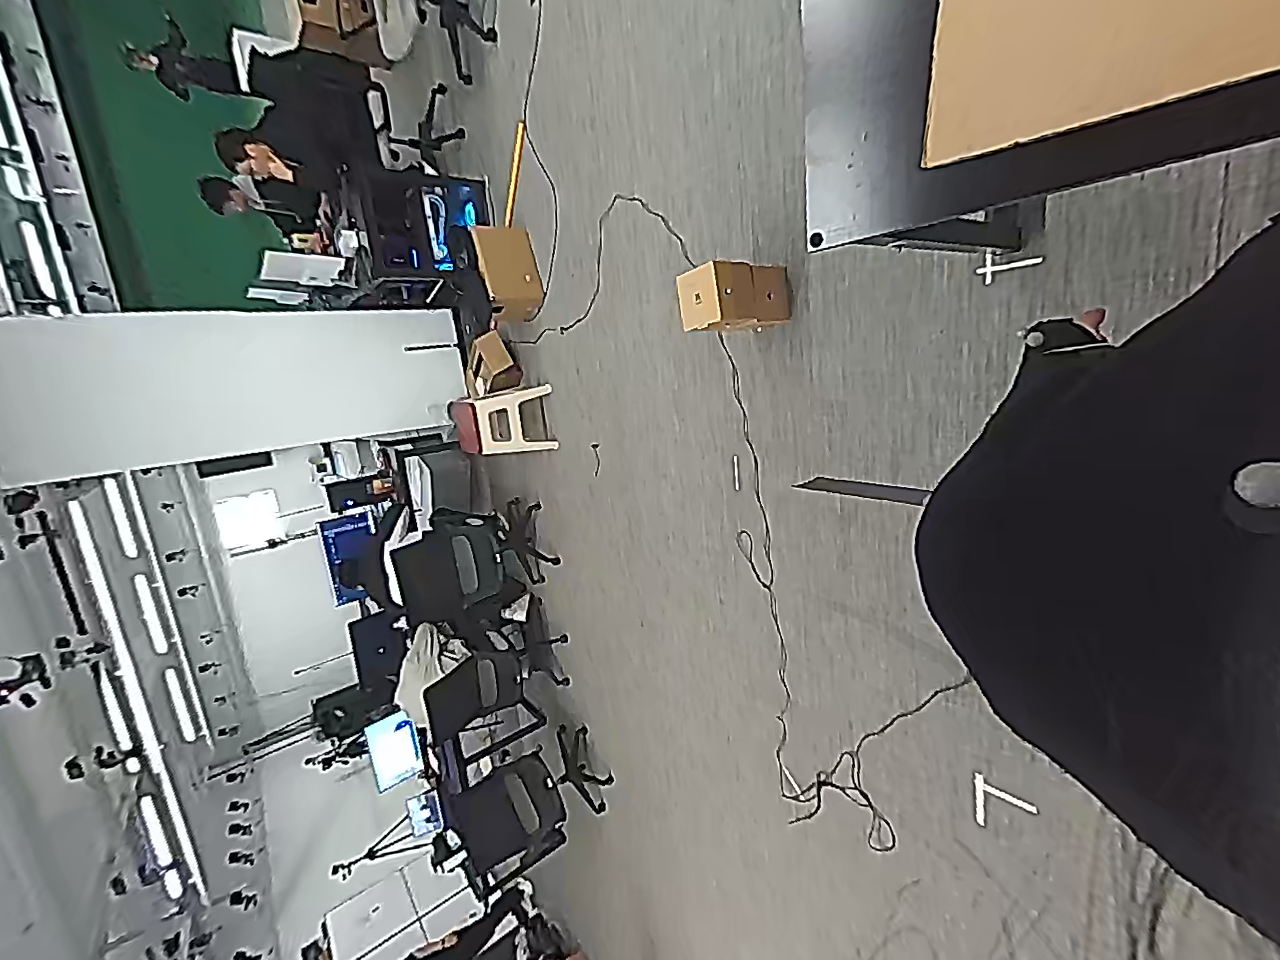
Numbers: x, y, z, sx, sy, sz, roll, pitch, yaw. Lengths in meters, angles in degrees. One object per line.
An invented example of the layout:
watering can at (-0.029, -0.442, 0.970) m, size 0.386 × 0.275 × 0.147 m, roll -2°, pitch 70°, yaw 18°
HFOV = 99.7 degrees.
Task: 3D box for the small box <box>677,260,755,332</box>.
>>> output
small box at (0.241, -0.571, 1.684) m, size 0.168 × 0.176 × 0.179 m, roll -1°, pitch 100°, yaw 53°

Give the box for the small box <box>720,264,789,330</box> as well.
small box at (0.370, -0.598, 1.779) m, size 0.168 × 0.176 × 0.179 m, roll 4°, pitch 106°, yaw 53°
